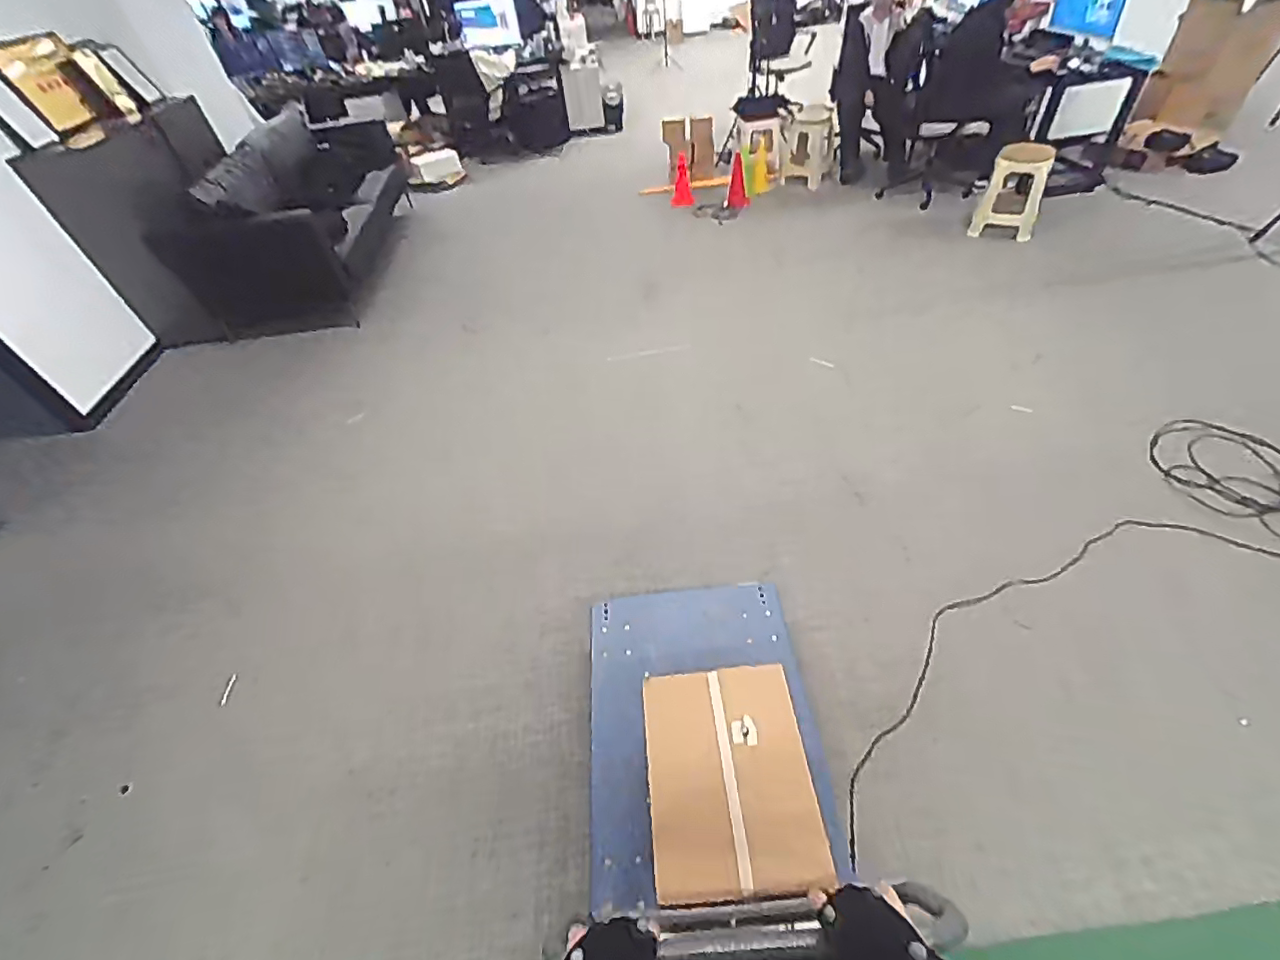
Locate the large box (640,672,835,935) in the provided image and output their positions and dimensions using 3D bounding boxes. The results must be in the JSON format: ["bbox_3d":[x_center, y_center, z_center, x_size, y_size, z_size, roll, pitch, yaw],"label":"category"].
[{"bbox_3d":[0.181,0.686,1.161,0.320,0.320,0.408,-6,44,0],"label":"large box"}]
